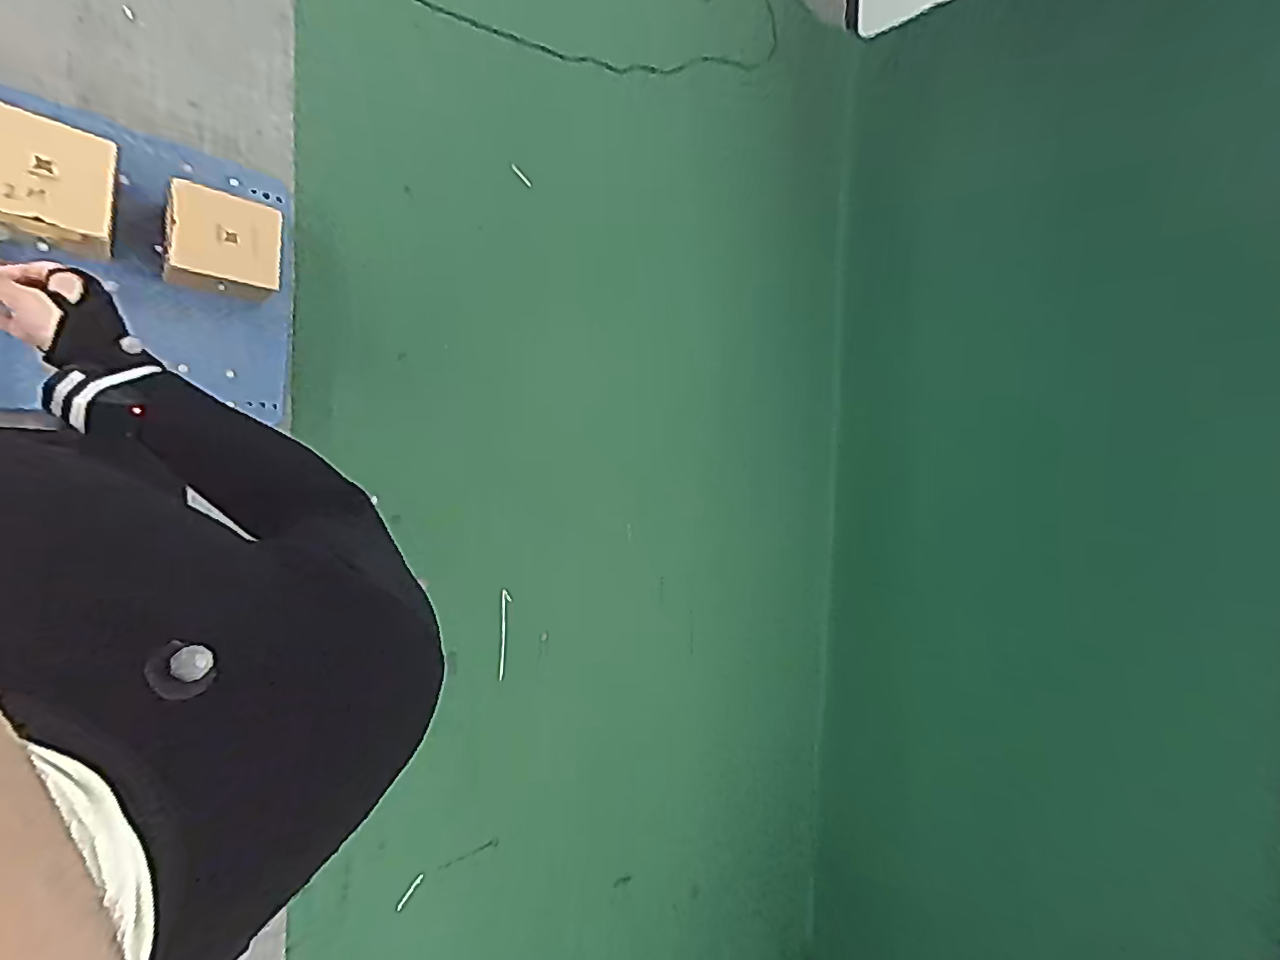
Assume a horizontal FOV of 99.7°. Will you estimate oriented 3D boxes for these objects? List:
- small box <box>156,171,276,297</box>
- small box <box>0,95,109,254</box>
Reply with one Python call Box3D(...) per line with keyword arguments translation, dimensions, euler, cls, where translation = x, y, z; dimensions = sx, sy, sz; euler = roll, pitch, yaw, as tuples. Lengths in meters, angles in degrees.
Box3D(translation=(-0.867, -0.486, 1.103), dimensions=(0.179, 0.176, 0.168), euler=(3, 91, -44), cls="small box")
Box3D(translation=(-1.039, -0.519, 0.930), dimensions=(0.168, 0.176, 0.179), euler=(5, 89, -44), cls="small box")
